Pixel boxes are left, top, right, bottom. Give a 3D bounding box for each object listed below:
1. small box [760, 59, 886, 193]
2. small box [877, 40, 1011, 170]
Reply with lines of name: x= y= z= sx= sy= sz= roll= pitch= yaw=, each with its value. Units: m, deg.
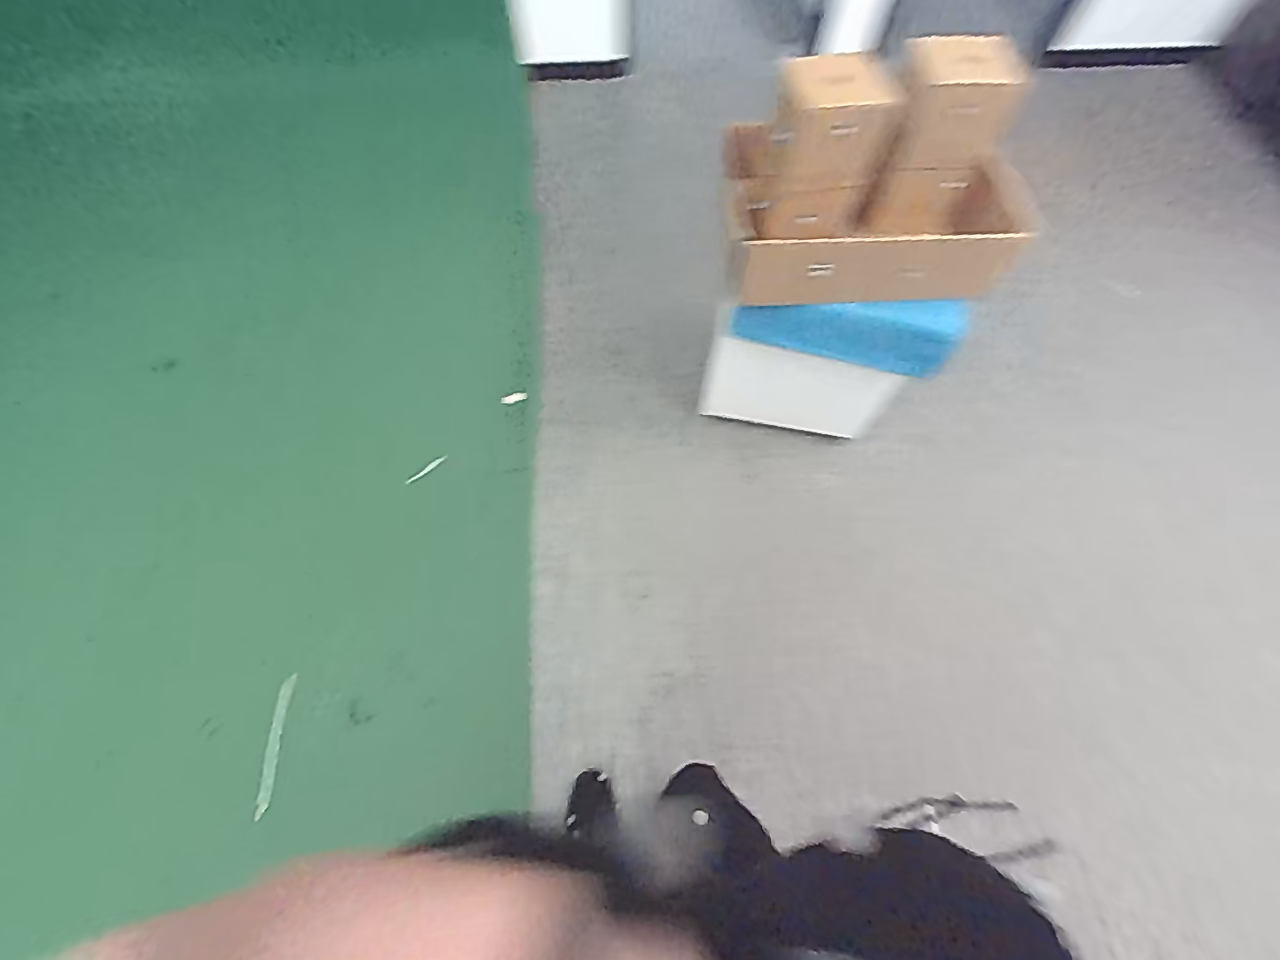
small box: x=0.349 y=-0.700 z=1.080 sx=0.179 sy=0.176 sz=0.168 roll=-7 pitch=64 yaw=-6
small box: x=0.611 y=-0.771 z=1.120 sx=0.179 sy=0.176 sz=0.168 roll=0 pitch=64 yaw=-1
